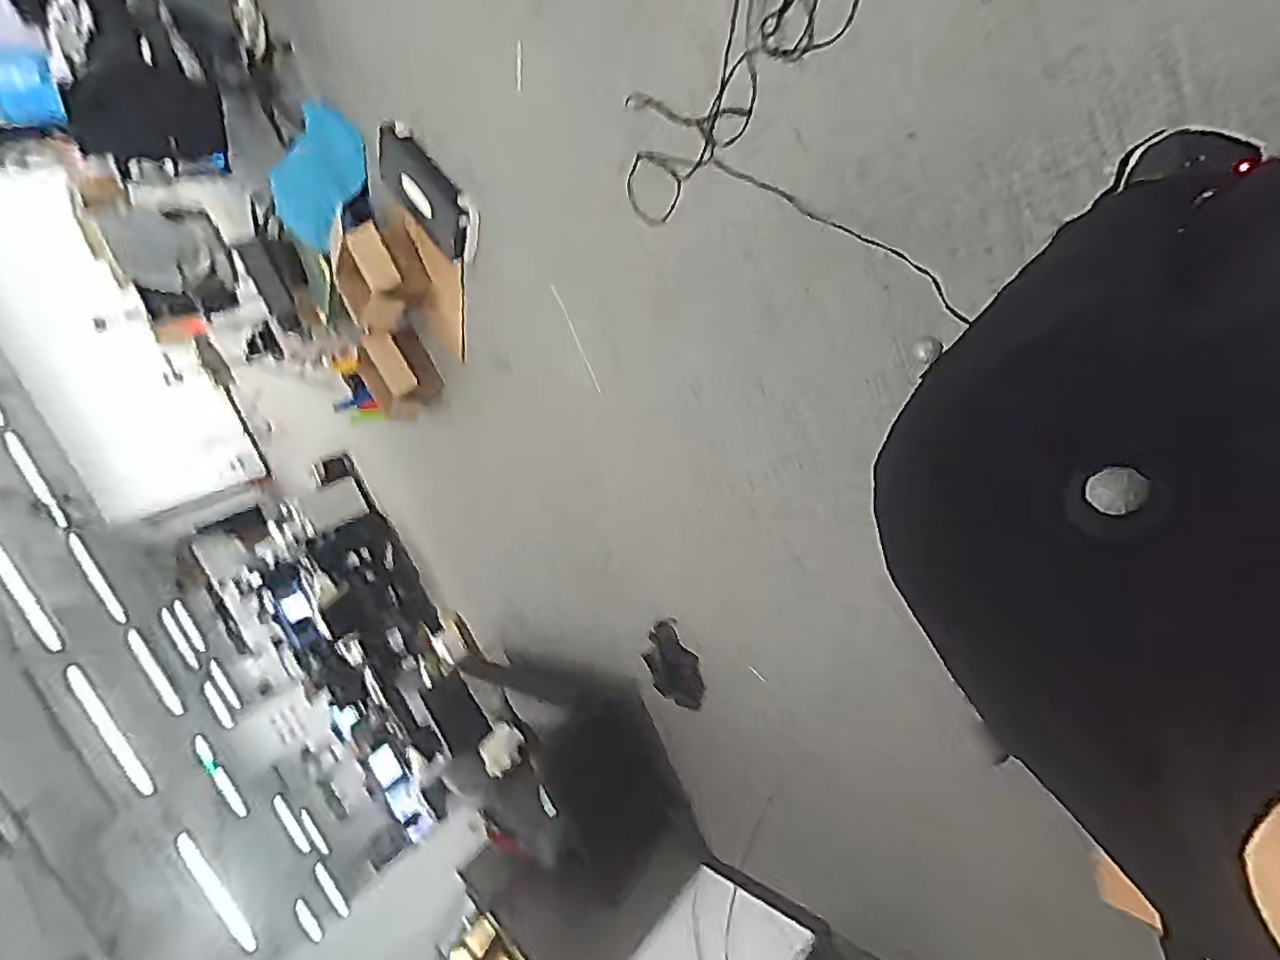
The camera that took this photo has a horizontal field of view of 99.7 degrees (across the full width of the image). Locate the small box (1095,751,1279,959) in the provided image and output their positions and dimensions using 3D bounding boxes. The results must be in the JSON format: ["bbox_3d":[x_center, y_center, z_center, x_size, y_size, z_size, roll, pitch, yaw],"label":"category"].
[{"bbox_3d":[0.787,0.530,0.775,0.179,0.176,0.168,-1,114,51],"label":"small box"}]
